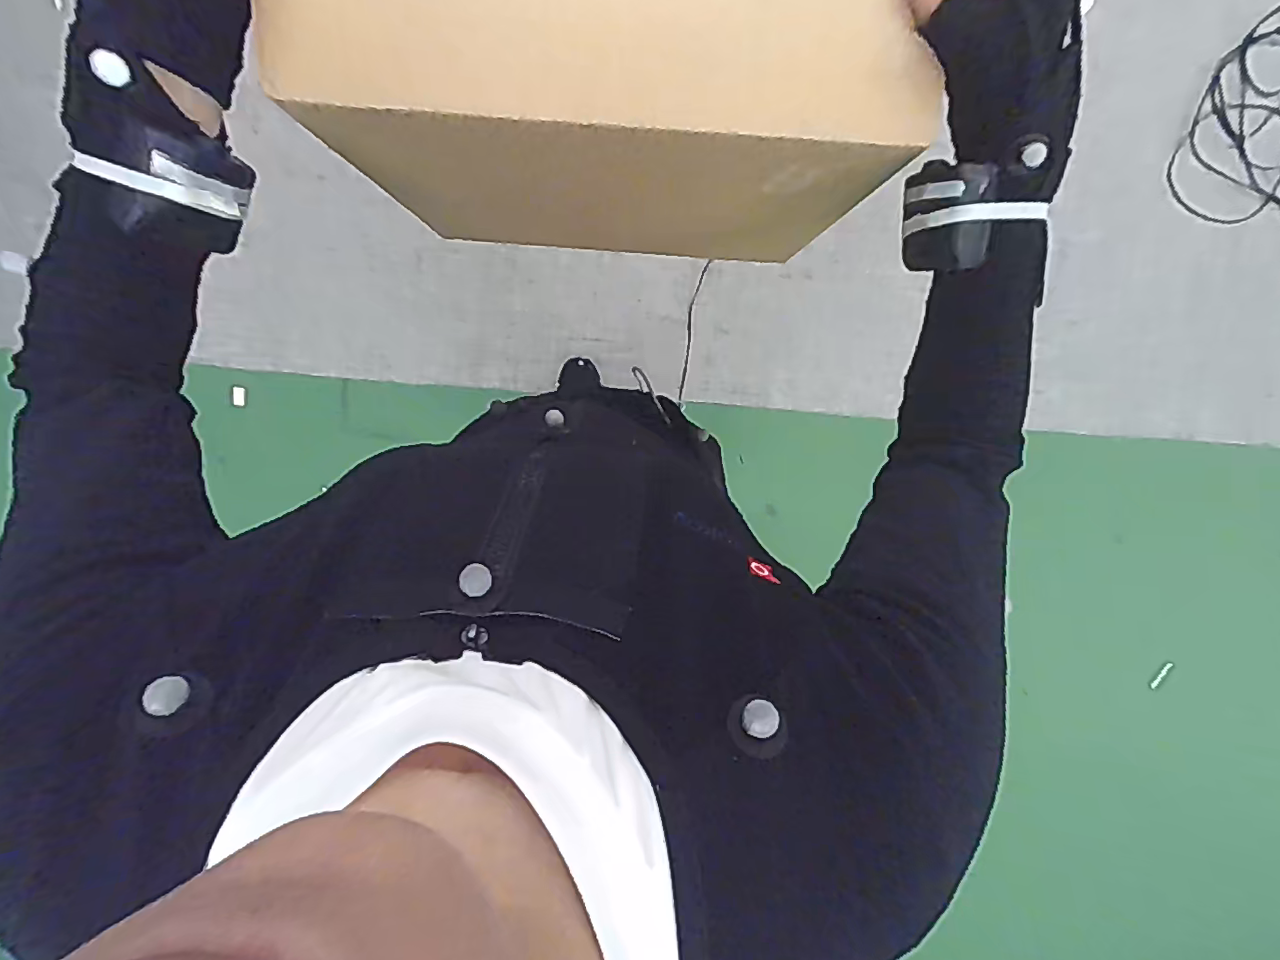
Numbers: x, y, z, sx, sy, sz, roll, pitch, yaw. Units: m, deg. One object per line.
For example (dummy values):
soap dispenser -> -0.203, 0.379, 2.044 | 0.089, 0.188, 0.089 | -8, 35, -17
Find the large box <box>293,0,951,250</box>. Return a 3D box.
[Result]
large box -> -0.010, -0.401, 0.457 | 0.408, 0.320, 0.320 | 2, 100, -3
